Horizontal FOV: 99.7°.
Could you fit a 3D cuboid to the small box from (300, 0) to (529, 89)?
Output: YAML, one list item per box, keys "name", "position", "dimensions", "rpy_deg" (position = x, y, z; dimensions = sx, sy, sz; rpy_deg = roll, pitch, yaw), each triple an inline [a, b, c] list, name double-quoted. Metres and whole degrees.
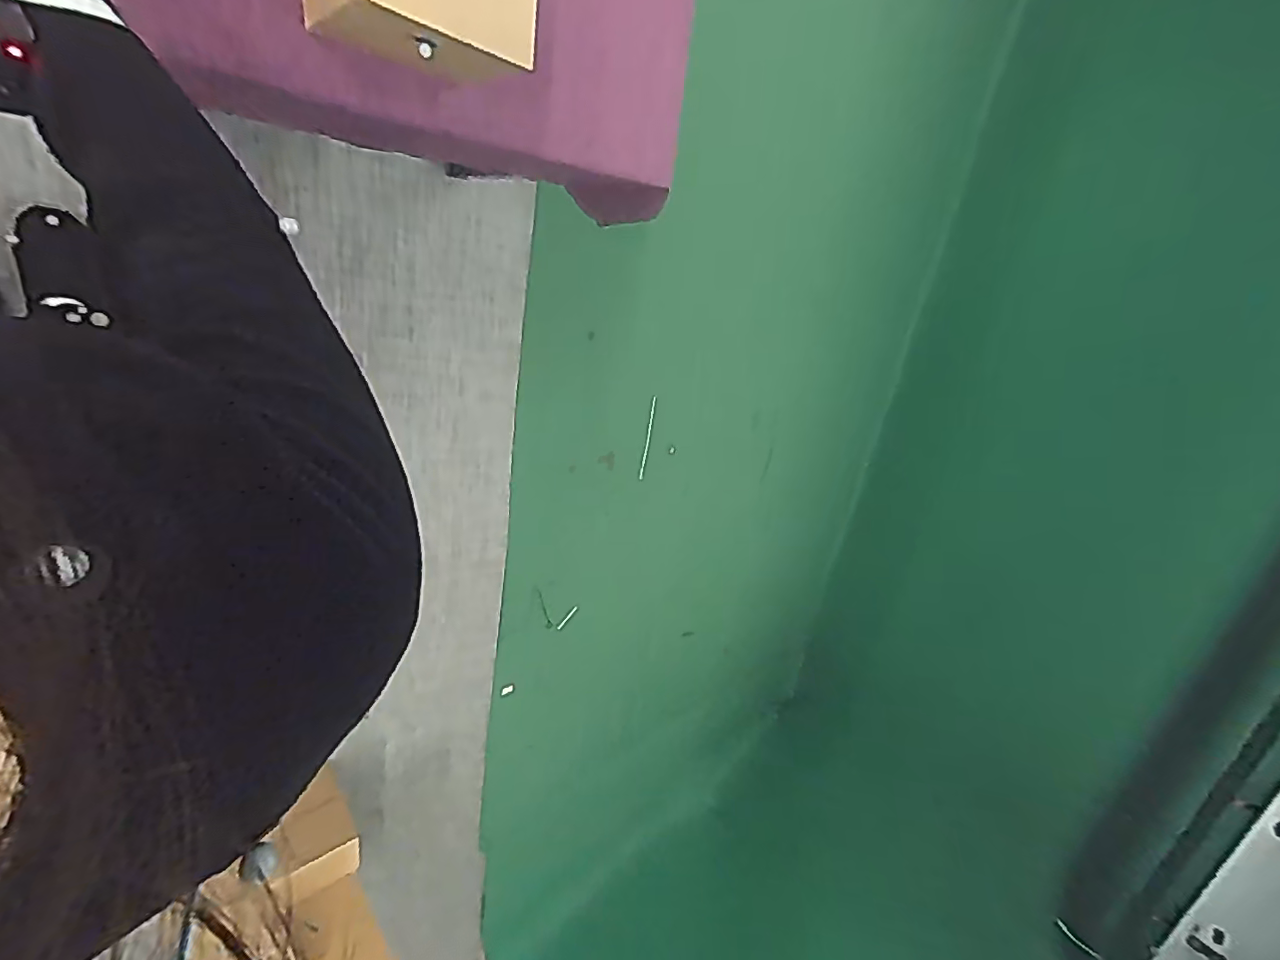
- name: "small box"
  position: [-0.229, -0.522, 0.545]
  dimensions: [0.179, 0.176, 0.168]
  rpy_deg: [-13, 119, -44]

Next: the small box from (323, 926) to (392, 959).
- name: "small box"
  position: [-0.744, 1.336, 1.415]
  dimensions: [0.179, 0.176, 0.168]
  rpy_deg: [-12, 122, -43]

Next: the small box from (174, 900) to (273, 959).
- name: "small box"
  position: [-0.998, 1.173, 1.296]
  dimensions: [0.168, 0.176, 0.179]
  rpy_deg: [-6, 116, -45]

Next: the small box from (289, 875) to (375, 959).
- name: "small box"
  position: [-0.860, 1.272, 1.510]
  dimensions: [0.179, 0.176, 0.168]
  rpy_deg: [-14, 123, -43]
